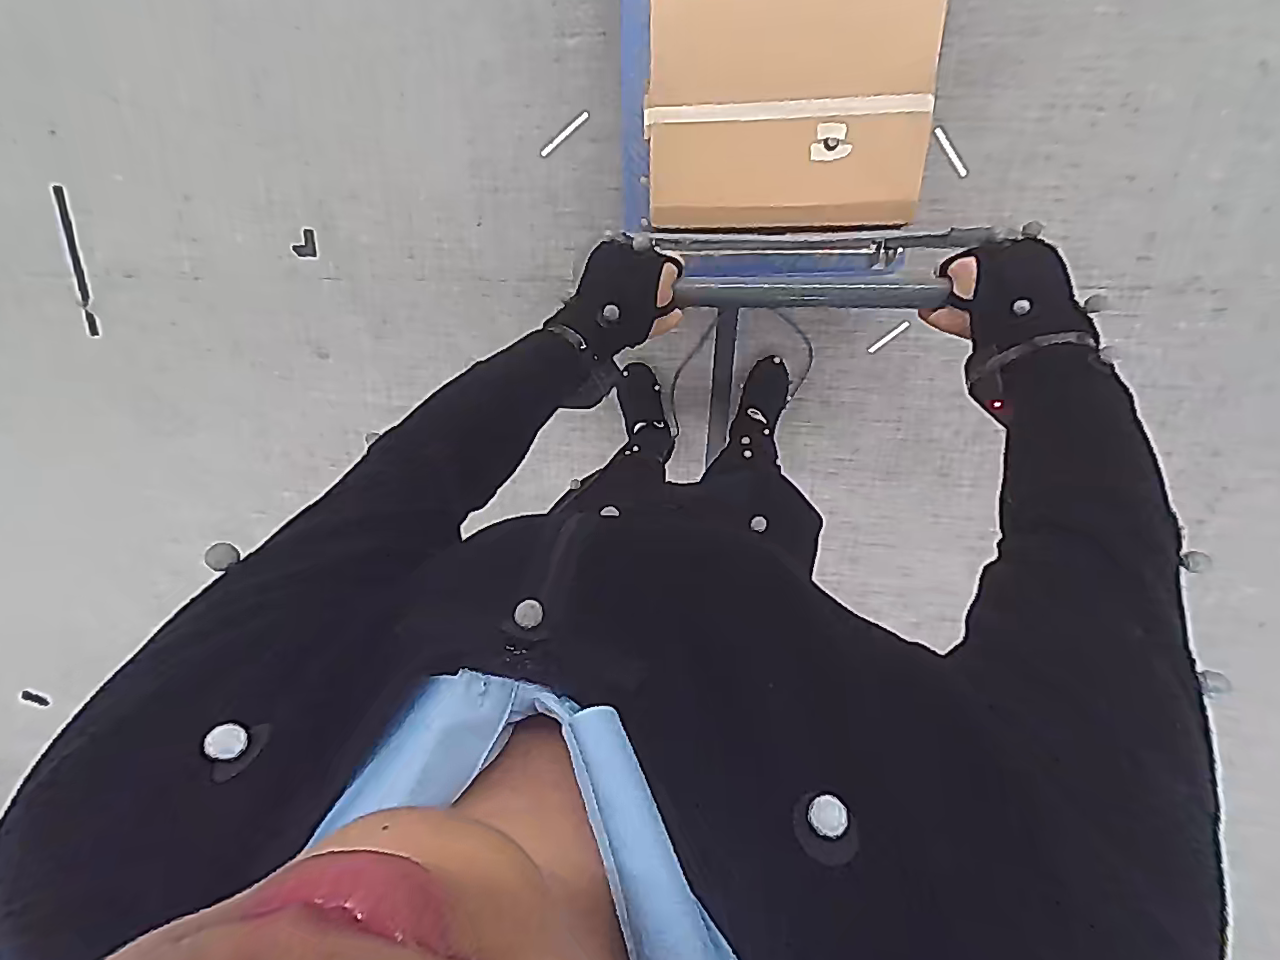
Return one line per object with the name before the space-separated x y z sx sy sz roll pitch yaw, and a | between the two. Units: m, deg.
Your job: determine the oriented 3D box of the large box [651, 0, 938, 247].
large box | 0.232 -0.594 0.947 0.408 0.320 0.320 1 110 6
